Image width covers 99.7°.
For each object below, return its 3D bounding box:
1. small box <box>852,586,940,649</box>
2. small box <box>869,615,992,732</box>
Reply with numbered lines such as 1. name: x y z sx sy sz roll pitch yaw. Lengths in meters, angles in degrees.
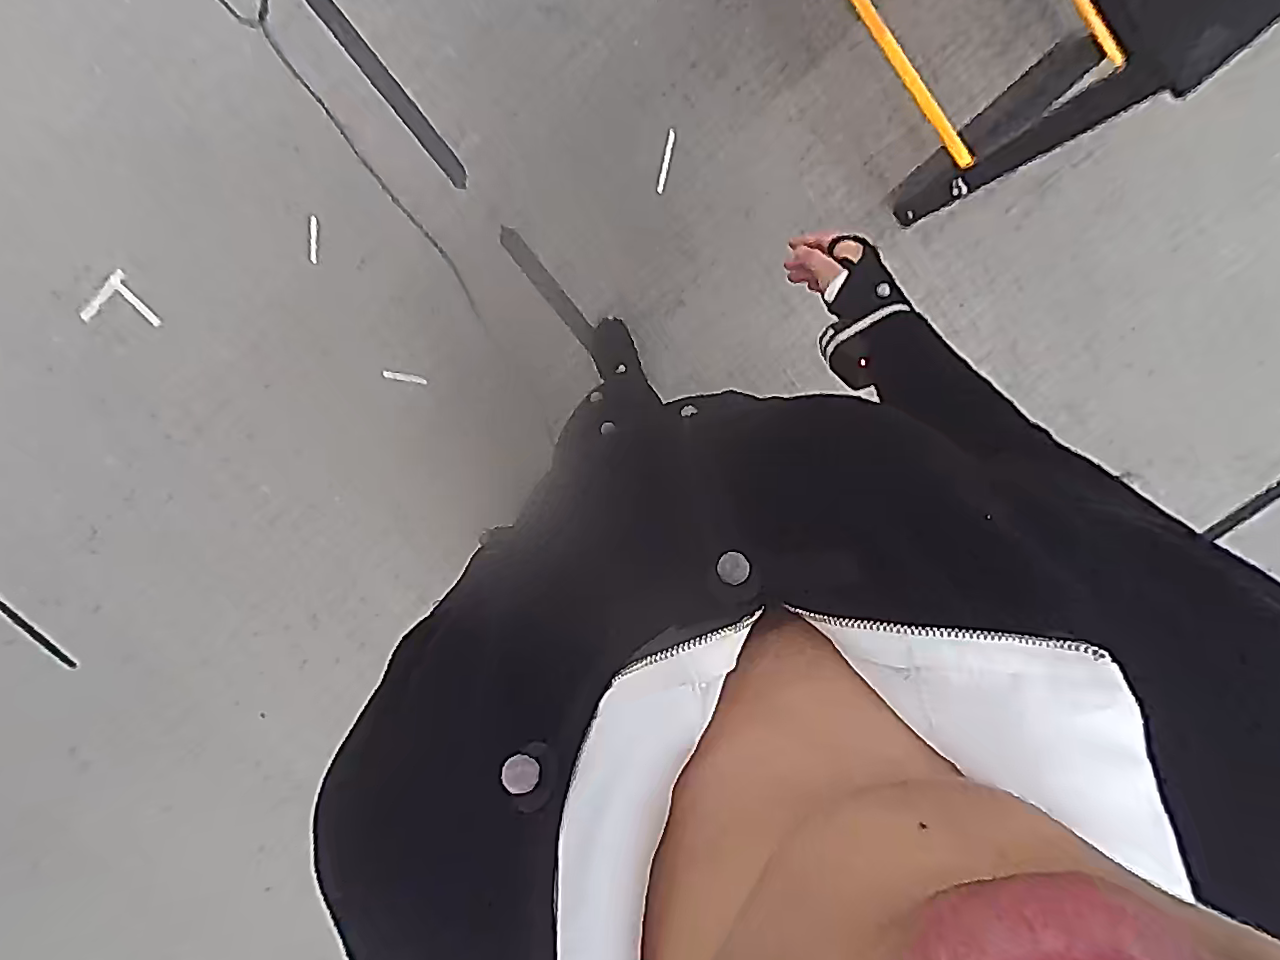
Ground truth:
1. small box: 0.714 0.427 1.495 0.179 0.176 0.168 -38 99 8
2. small box: 0.709 0.470 1.338 0.168 0.176 0.179 -39 98 7
